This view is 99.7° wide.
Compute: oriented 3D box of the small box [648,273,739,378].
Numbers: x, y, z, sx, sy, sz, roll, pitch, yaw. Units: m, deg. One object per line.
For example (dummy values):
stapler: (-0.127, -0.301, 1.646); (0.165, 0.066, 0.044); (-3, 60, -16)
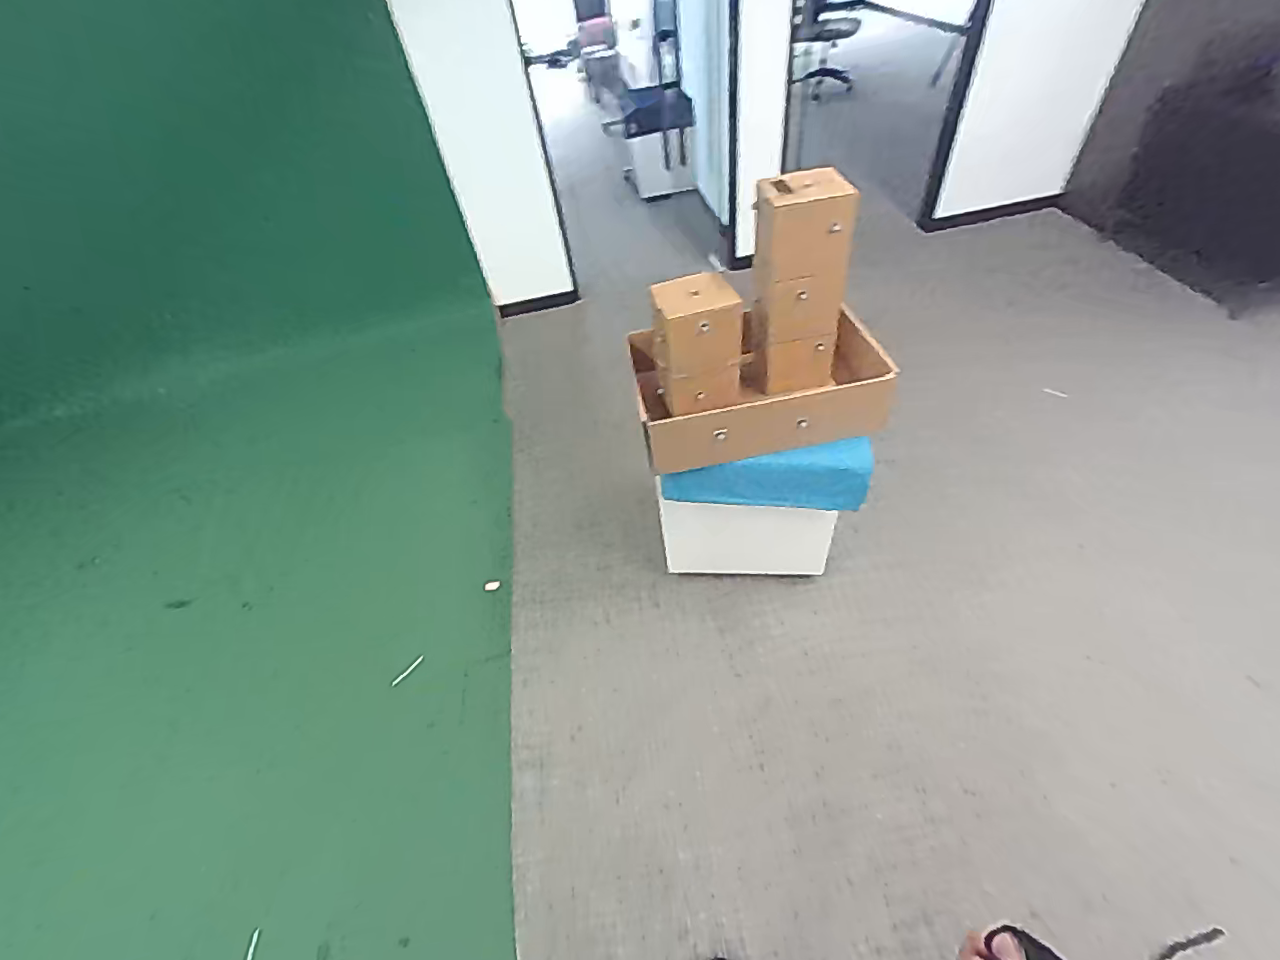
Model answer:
small box: (0.129, -0.366, 1.296); (0.179, 0.176, 0.168); (-14, 47, -5)

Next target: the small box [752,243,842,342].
small box: (0.381, -0.461, 1.344); (0.179, 0.176, 0.168); (-9, 47, 1)
